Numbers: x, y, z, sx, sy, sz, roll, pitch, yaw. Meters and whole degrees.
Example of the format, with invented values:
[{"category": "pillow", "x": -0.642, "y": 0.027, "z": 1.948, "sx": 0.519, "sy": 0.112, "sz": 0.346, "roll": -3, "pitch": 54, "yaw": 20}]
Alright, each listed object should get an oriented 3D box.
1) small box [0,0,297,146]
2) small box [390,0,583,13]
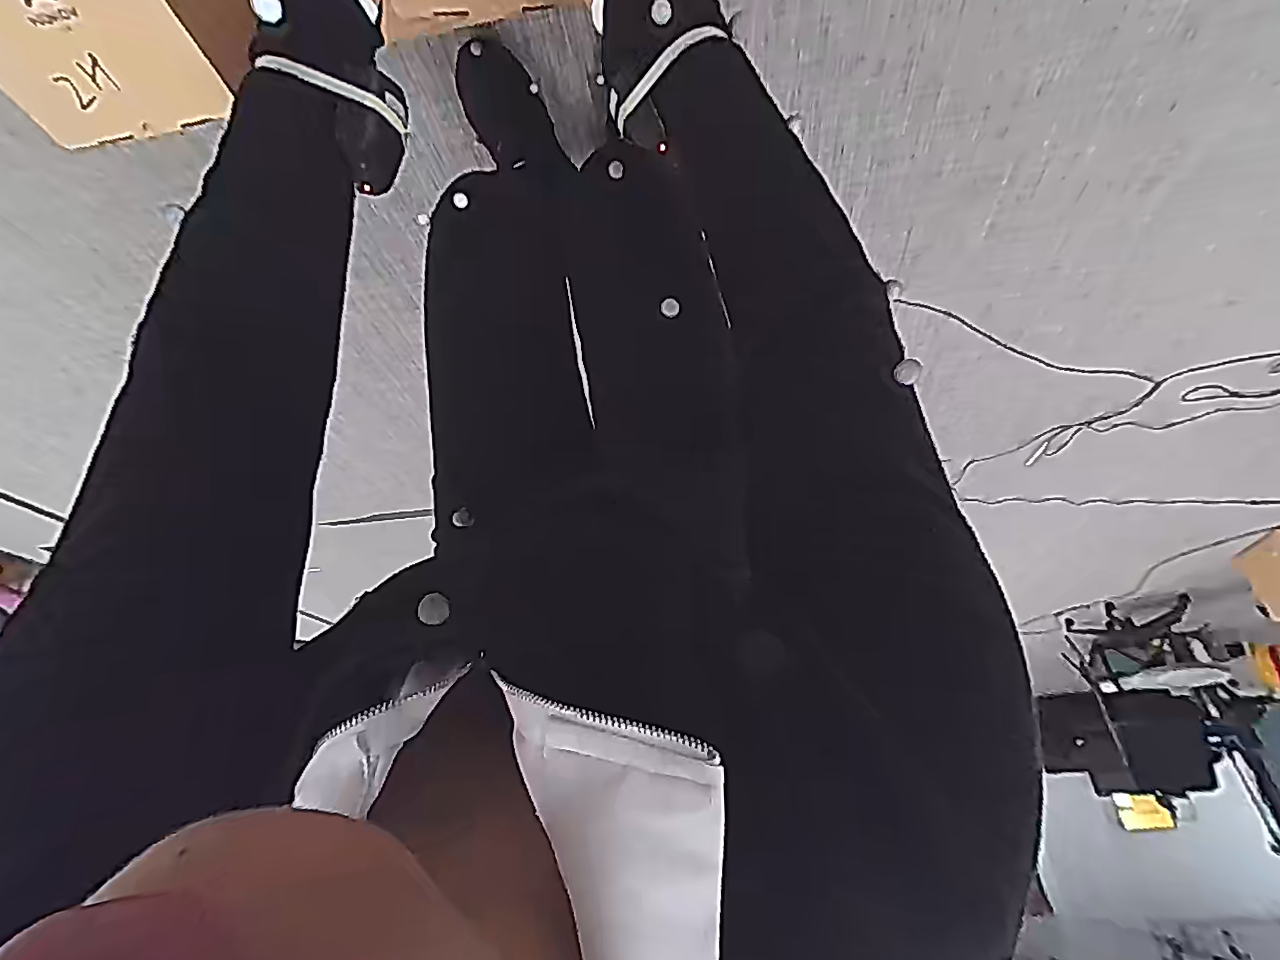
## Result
[{"category": "small box", "x": -0.405, "y": -0.394, "z": 0.403, "sx": 0.168, "sy": 0.176, "sz": 0.179, "roll": -6, "pitch": 149, "yaw": 6}, {"category": "small box", "x": -0.128, "y": -0.500, "z": 0.403, "sx": 0.168, "sy": 0.176, "sz": 0.179, "roll": -1, "pitch": 157, "yaw": 1}]
